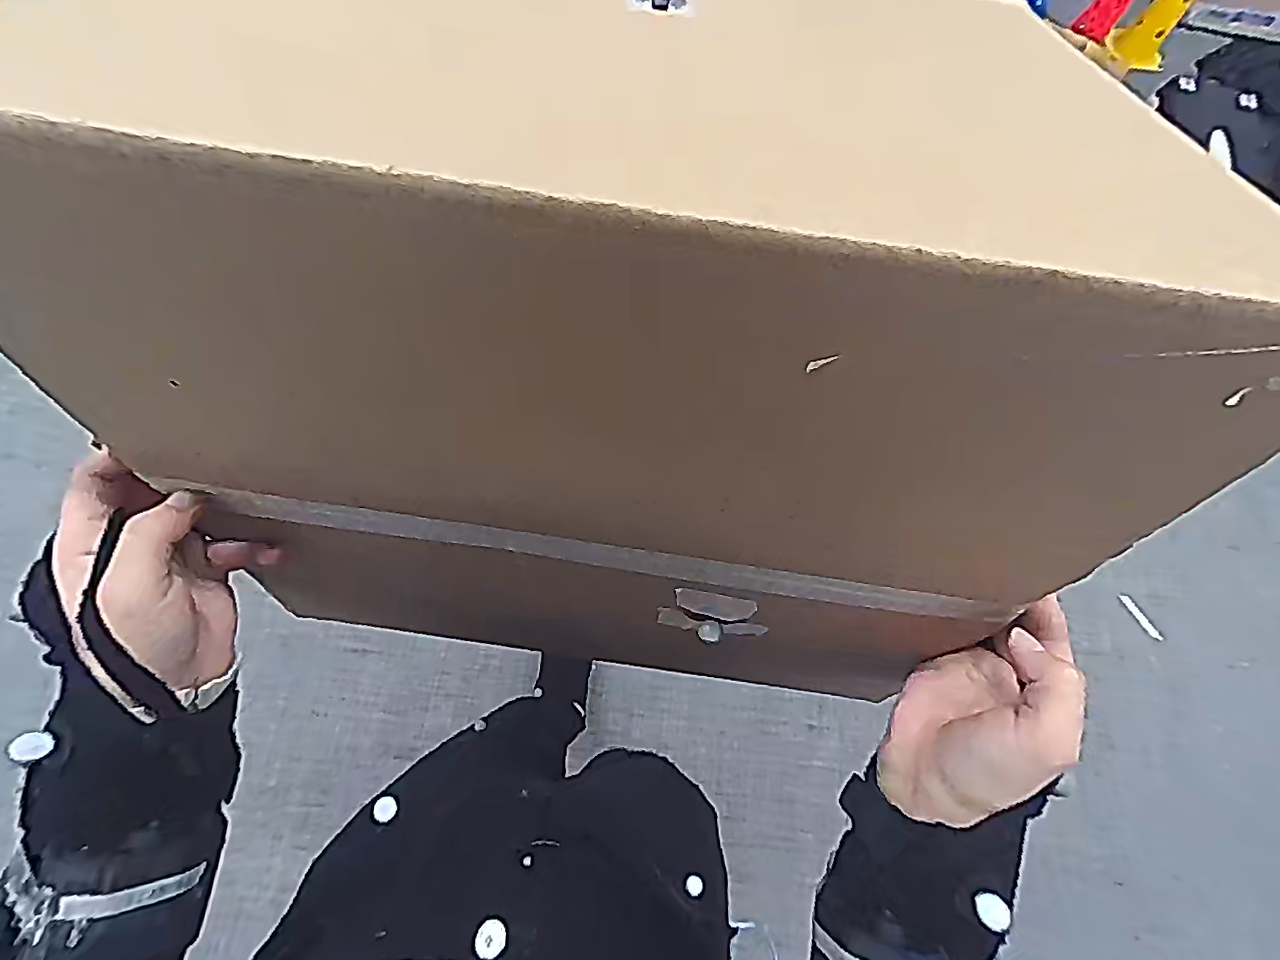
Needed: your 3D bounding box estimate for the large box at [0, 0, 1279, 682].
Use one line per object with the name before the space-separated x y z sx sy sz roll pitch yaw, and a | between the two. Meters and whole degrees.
large box | -0.010 -0.093 0.349 0.408 0.320 0.320 8 54 0
